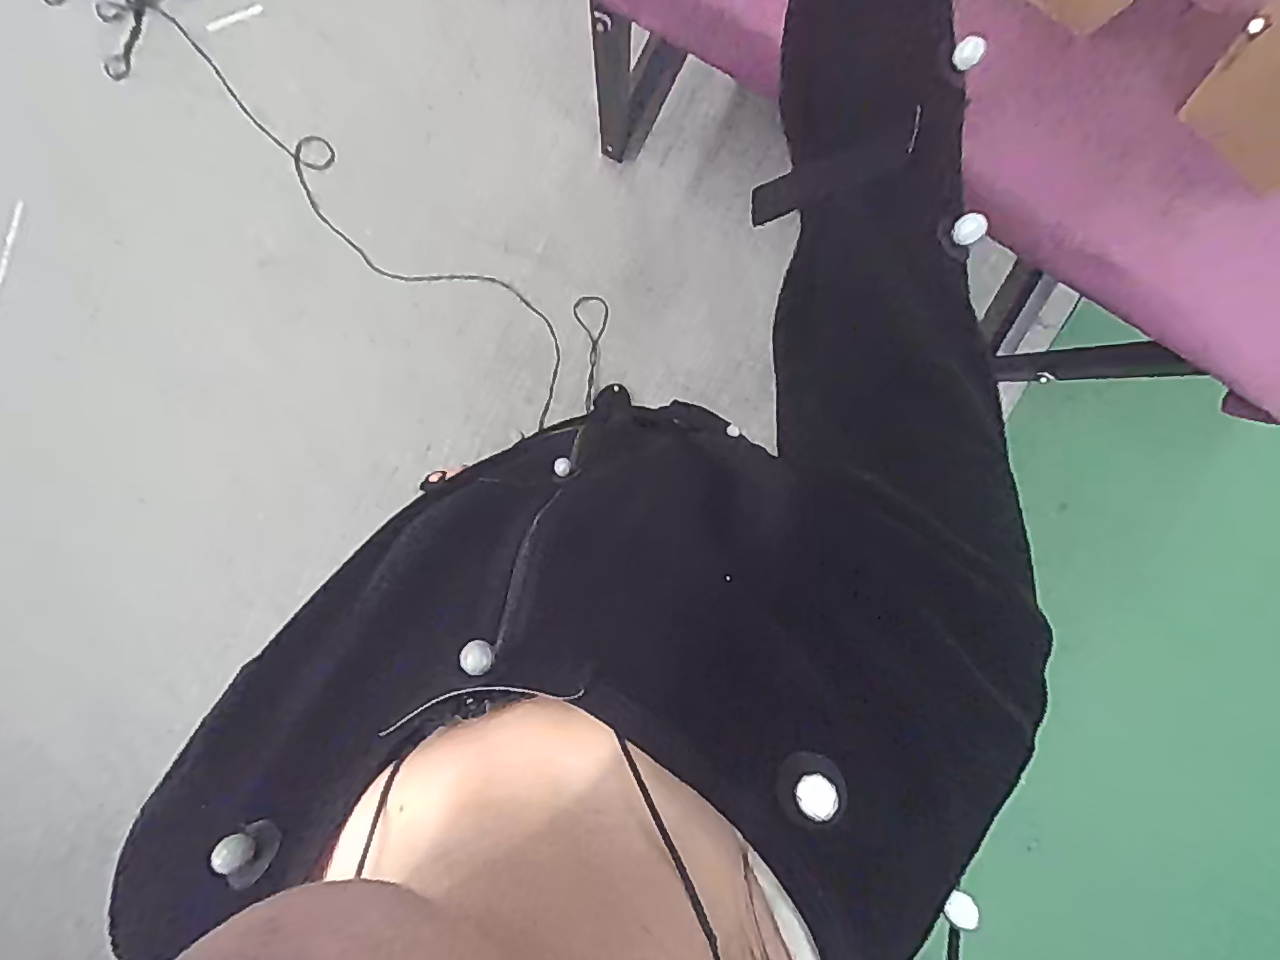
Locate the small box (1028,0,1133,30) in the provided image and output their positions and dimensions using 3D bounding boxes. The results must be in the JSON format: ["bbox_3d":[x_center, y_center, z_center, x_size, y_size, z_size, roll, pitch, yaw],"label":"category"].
[{"bbox_3d":[0.538,-0.658,0.596,0.179,0.176,0.168,29,96,-6],"label":"small box"}]

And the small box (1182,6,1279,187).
[{"bbox_3d":[0.825,-0.480,0.634,0.179,0.176,0.168,36,95,-6],"label":"small box"}]
